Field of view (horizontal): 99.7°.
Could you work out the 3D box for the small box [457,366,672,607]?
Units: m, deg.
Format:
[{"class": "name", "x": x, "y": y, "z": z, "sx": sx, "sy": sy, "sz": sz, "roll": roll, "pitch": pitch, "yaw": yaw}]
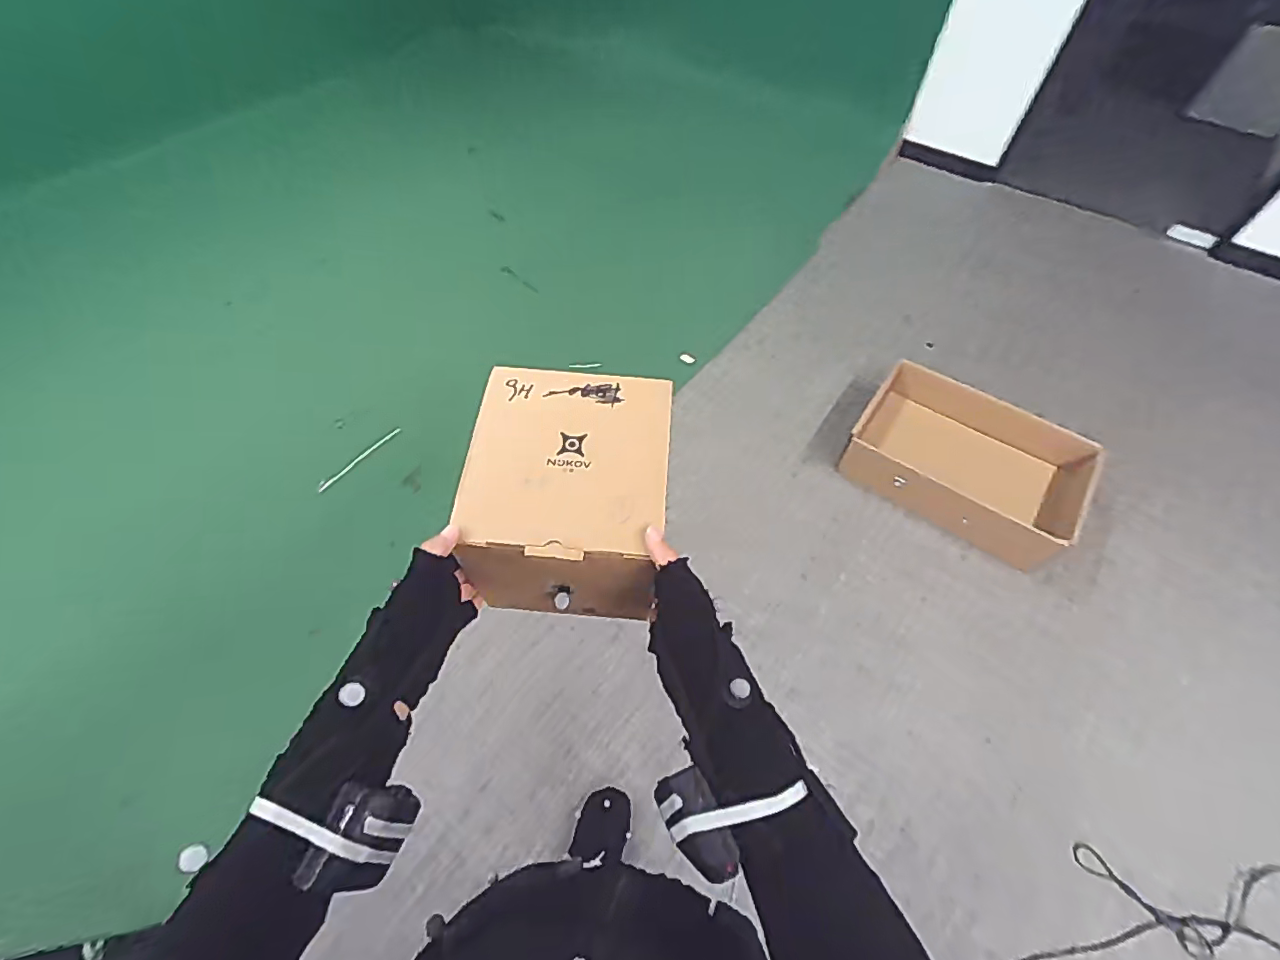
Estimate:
[{"class": "small box", "x": -0.056, "y": 0.015, "z": 0.517, "sx": 0.168, "sy": 0.176, "sz": 0.179, "roll": 2, "pitch": 60, "yaw": 0}]
